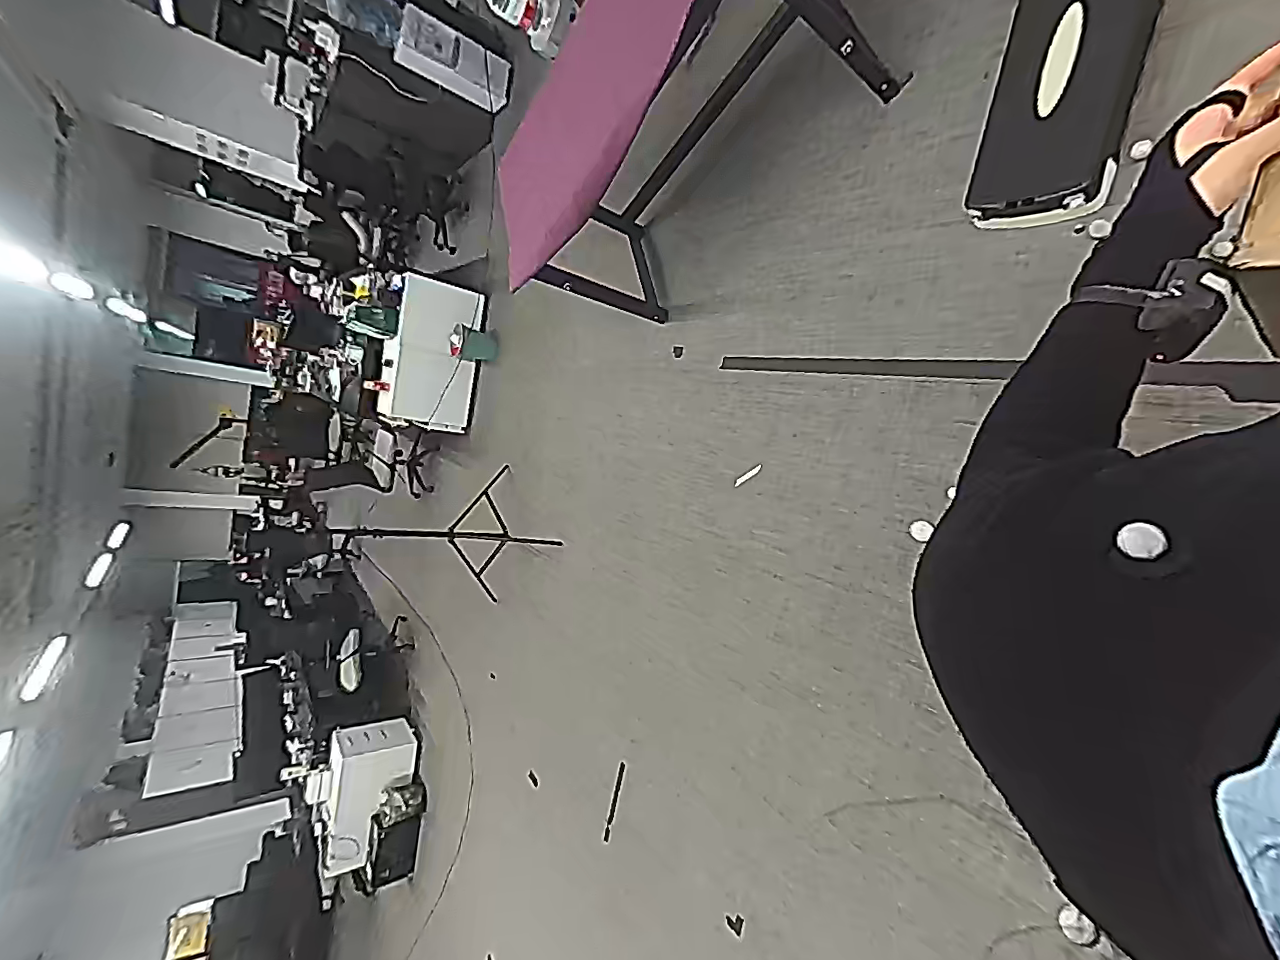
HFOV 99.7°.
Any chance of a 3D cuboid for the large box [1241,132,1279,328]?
[{"bbox_3d":[0.713,-0.253,0.316,0.408,0.320,0.320,20,99,55],"label":"large box"}]
